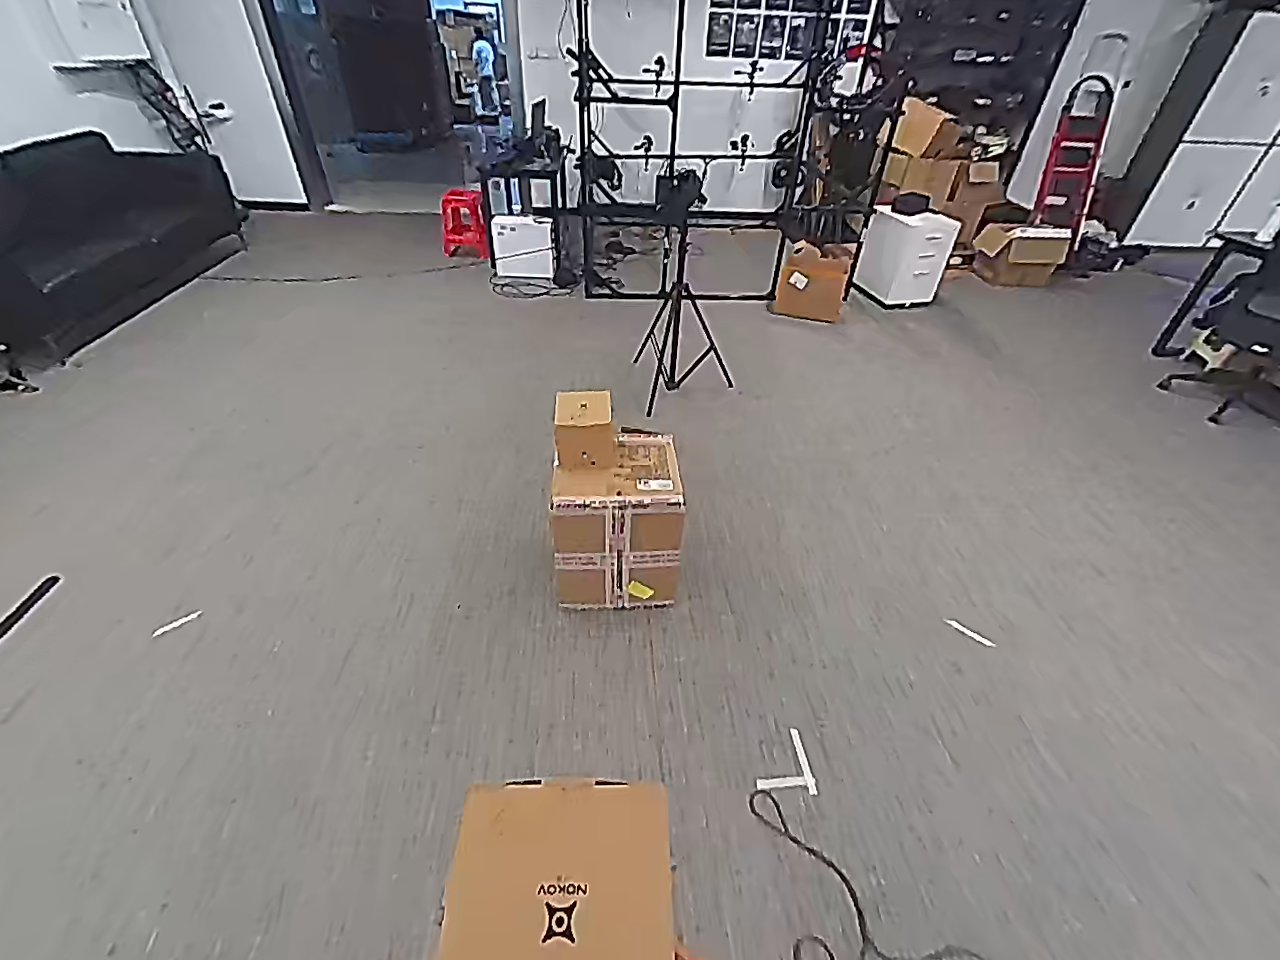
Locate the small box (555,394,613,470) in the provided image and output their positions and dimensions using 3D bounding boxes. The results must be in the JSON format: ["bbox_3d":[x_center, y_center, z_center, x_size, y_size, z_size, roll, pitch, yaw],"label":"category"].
[{"bbox_3d":[-0.170,-0.147,1.664,0.168,0.176,0.179,-3,42,-3],"label":"small box"}]
